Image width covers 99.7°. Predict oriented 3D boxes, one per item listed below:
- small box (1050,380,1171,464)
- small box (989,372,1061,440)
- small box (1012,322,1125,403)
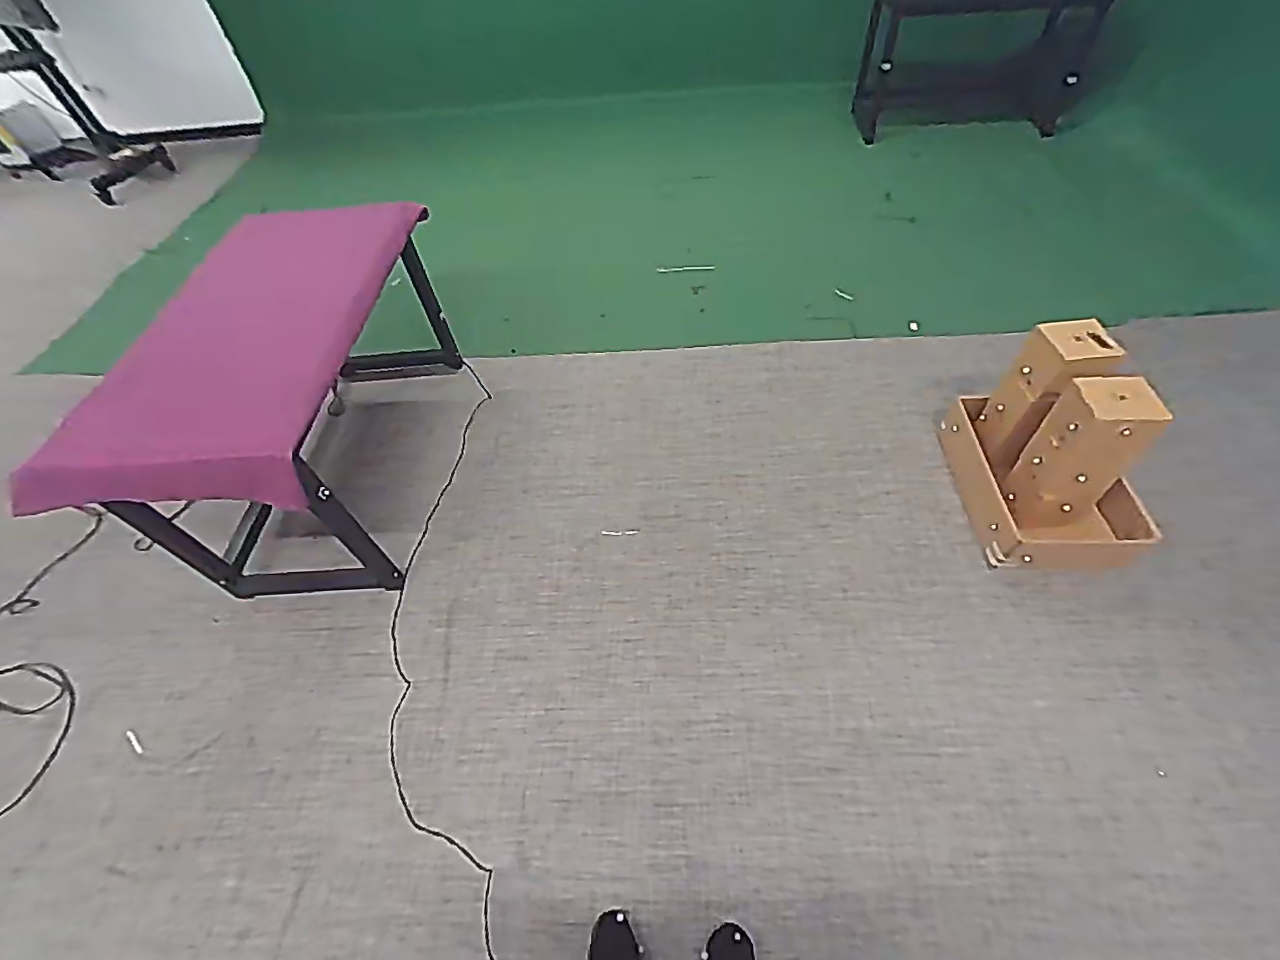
[{"bbox_3d":[1.276,-0.157,1.489,0.179,0.176,0.168,1,51,7],"label":"small box"},{"bbox_3d":[1.286,-0.244,1.757,0.179,0.176,0.168,-1,53,4],"label":"small box"},{"bbox_3d":[1.281,-0.351,1.631,0.179,0.176,0.168,-6,53,1],"label":"small box"}]
